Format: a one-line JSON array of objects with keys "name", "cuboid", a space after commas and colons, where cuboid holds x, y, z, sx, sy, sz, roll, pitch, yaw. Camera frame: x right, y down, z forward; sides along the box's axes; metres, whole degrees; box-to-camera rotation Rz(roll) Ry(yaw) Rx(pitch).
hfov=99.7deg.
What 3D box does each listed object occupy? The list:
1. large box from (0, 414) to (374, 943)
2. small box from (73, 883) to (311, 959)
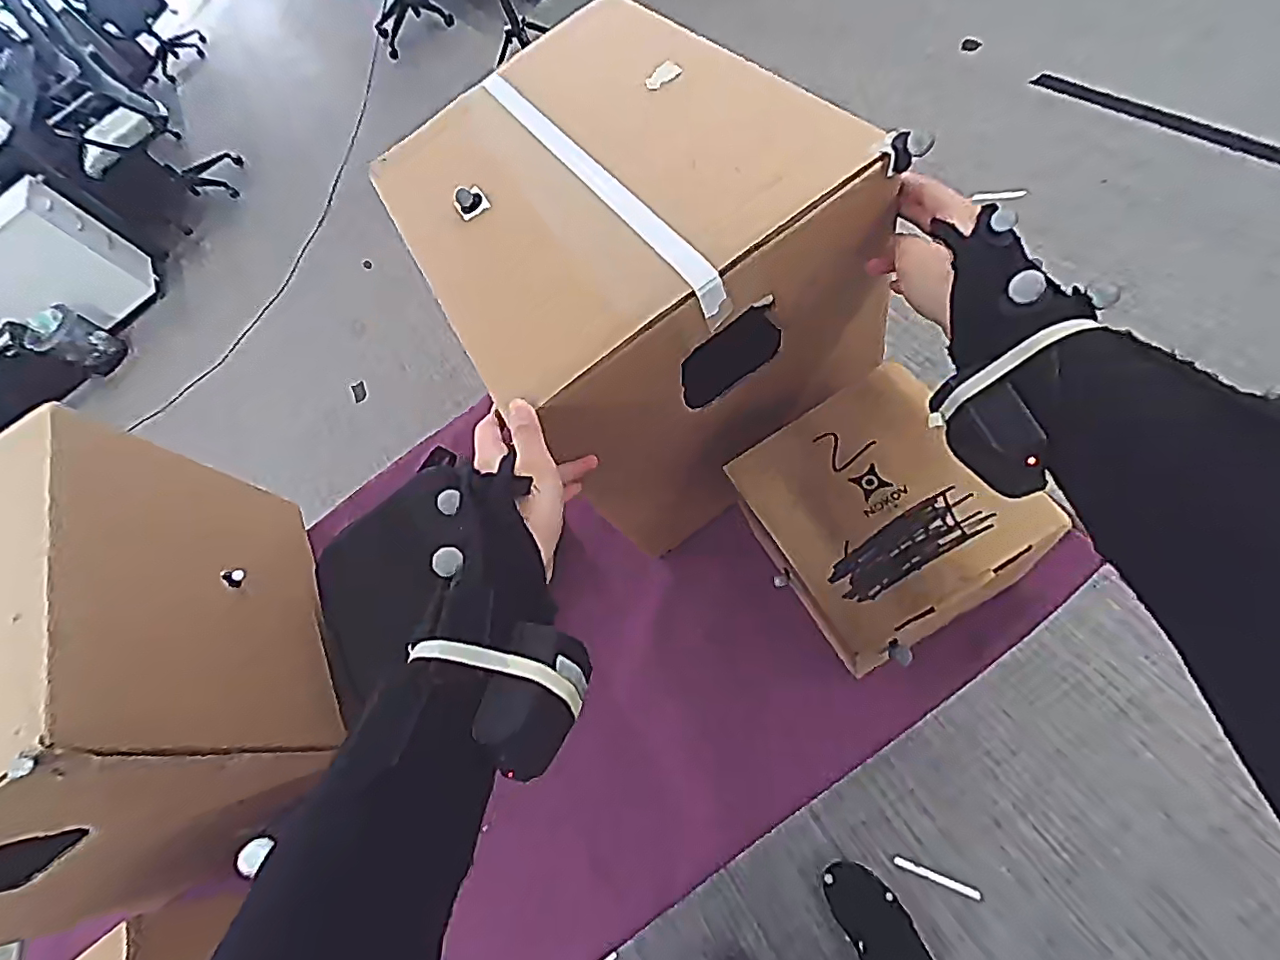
[{"name": "large box", "cuboid": [-0.583, 0.208, 0.611, 0.320, 0.320, 0.408, -39, 61, 0]}, {"name": "small box", "cuboid": [-0.432, 0.513, 0.488, 0.179, 0.176, 0.168, -39, 57, -1]}]
